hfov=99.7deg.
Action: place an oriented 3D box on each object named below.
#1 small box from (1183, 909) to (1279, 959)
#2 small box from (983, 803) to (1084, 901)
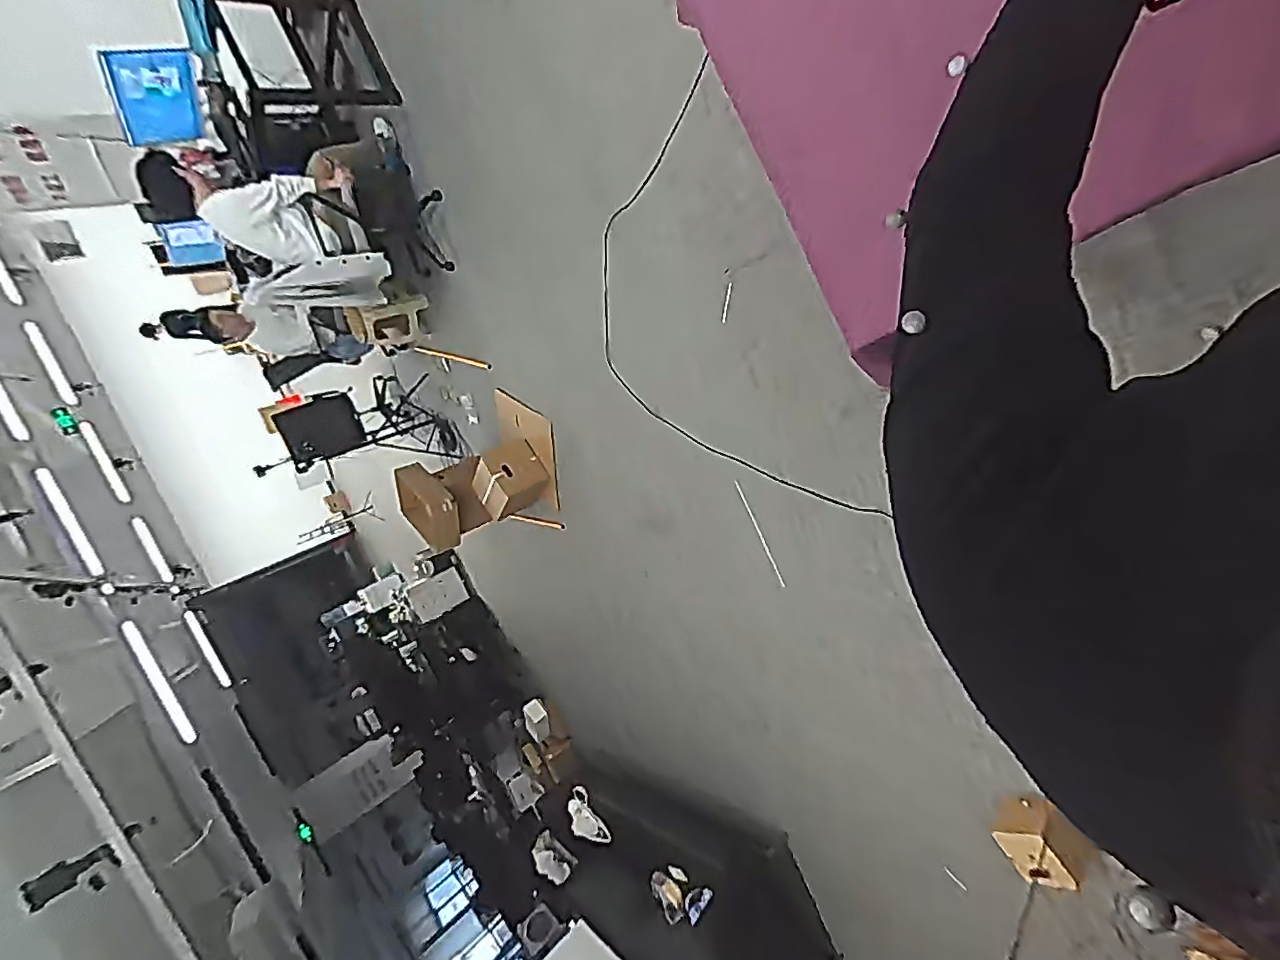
[{"bbox_3d":[1.512,1.268,1.377,0.168,0.176,0.179,3,115,51],"label":"small box"},{"bbox_3d":[1.220,1.141,1.671,0.179,0.176,0.168,56,144,11],"label":"small box"}]
